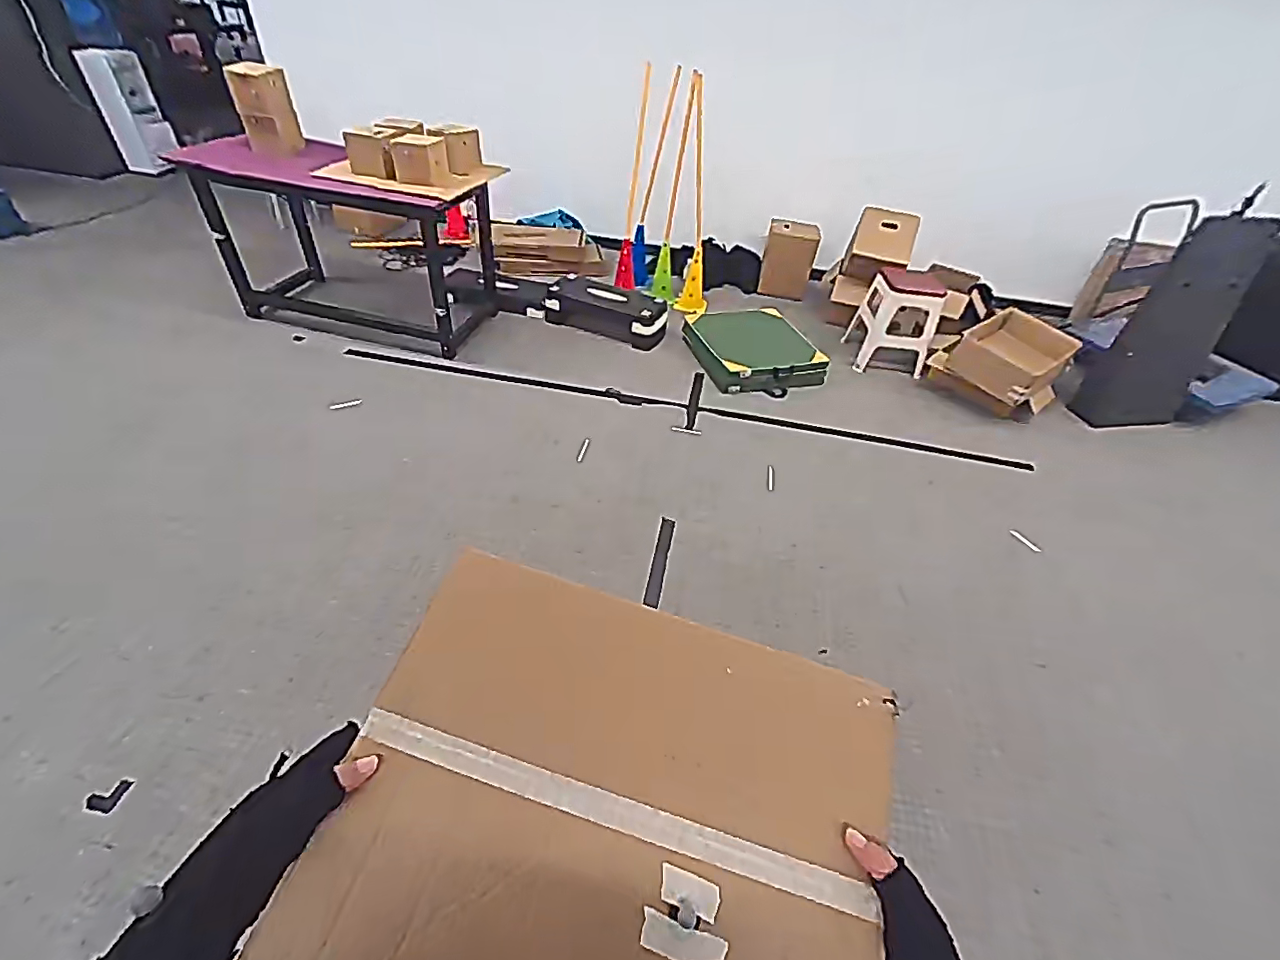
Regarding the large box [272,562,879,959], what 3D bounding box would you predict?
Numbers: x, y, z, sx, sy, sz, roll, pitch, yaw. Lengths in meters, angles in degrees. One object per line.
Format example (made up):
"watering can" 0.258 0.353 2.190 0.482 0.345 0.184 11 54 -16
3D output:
"large box" -0.031 0.331 0.549 0.408 0.320 0.320 18 59 5
